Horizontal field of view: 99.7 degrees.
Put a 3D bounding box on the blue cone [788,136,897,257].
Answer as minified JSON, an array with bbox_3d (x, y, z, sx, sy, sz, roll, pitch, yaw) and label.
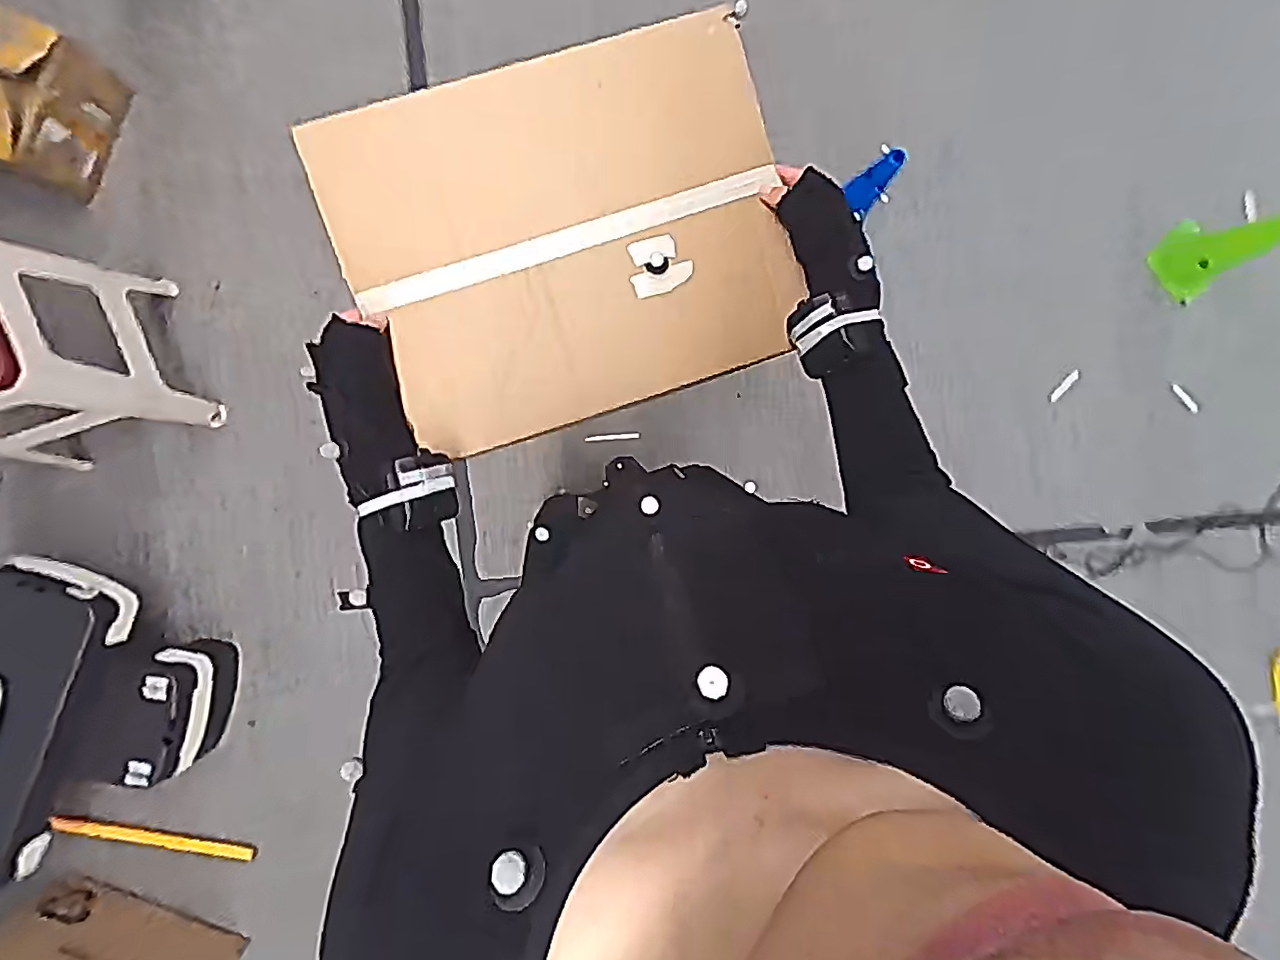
[{"bbox_3d":[0.529,-0.724,1.363,0.193,0.380,0.192,-2,90,-6],"label":"blue cone"}]

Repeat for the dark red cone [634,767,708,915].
[{"bbox_3d":[0.102,0.891,1.321,0.202,0.394,0.201,1,90,-6],"label":"dark red cone"}]

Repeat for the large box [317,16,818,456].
[{"bbox_3d":[-0.070,-0.238,0.651,0.408,0.320,0.320,-18,97,-4],"label":"large box"}]

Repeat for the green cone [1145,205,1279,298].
[{"bbox_3d":[1.656,-0.675,1.455,0.200,0.368,0.202,-43,93,-4],"label":"green cone"}]
